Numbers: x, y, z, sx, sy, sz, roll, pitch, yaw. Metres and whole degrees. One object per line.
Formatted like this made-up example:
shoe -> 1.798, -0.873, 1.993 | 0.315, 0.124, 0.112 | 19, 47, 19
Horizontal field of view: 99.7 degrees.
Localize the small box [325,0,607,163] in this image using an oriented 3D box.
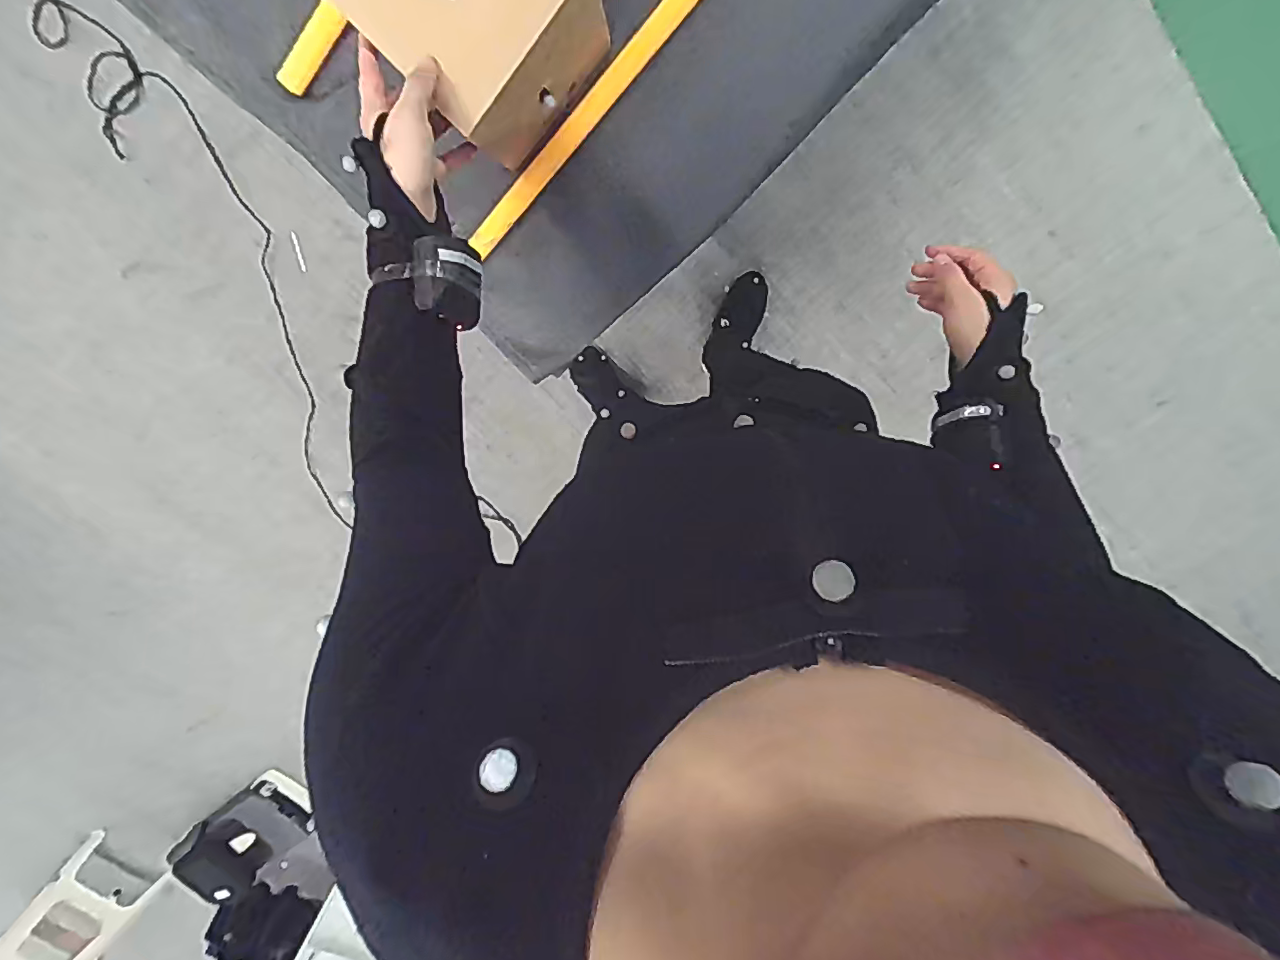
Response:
small box -> -0.147, -0.426, 0.499 | 0.179, 0.176, 0.168 | 42, 106, -13
